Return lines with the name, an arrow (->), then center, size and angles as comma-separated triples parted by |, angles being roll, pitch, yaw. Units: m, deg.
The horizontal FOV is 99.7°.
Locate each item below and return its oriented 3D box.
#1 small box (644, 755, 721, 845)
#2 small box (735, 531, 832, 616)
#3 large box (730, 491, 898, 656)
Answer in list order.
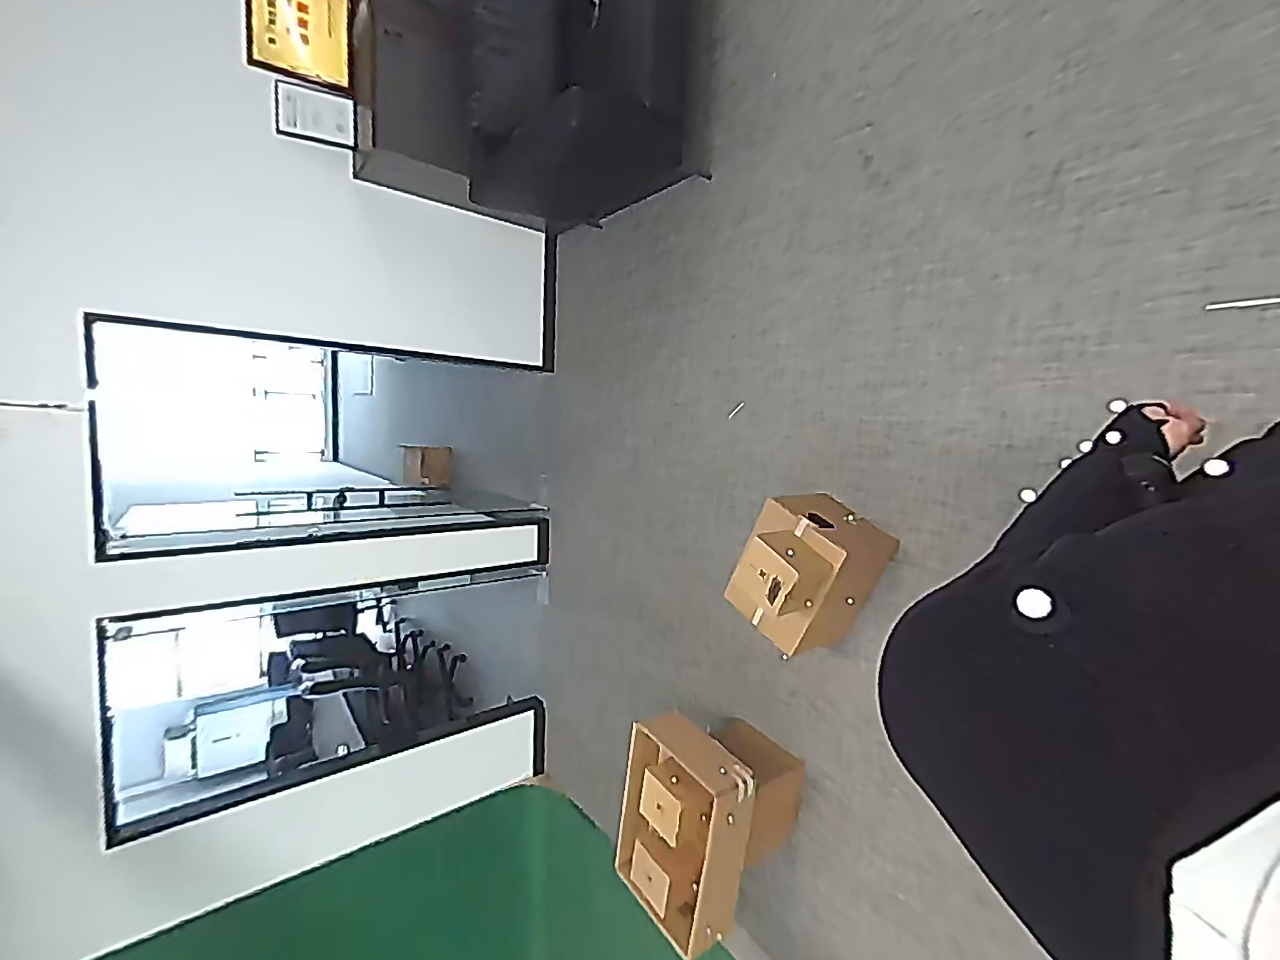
small box -> 0.138, 1.036, 1.772 | 0.179, 0.176, 0.168 | 20, 107, 47
small box -> 0.416, 0.261, 1.561 | 0.179, 0.176, 0.168 | 44, 124, 39
large box -> 0.562, 0.287, 1.773 | 0.320, 0.320, 0.408 | 41, 123, 42
